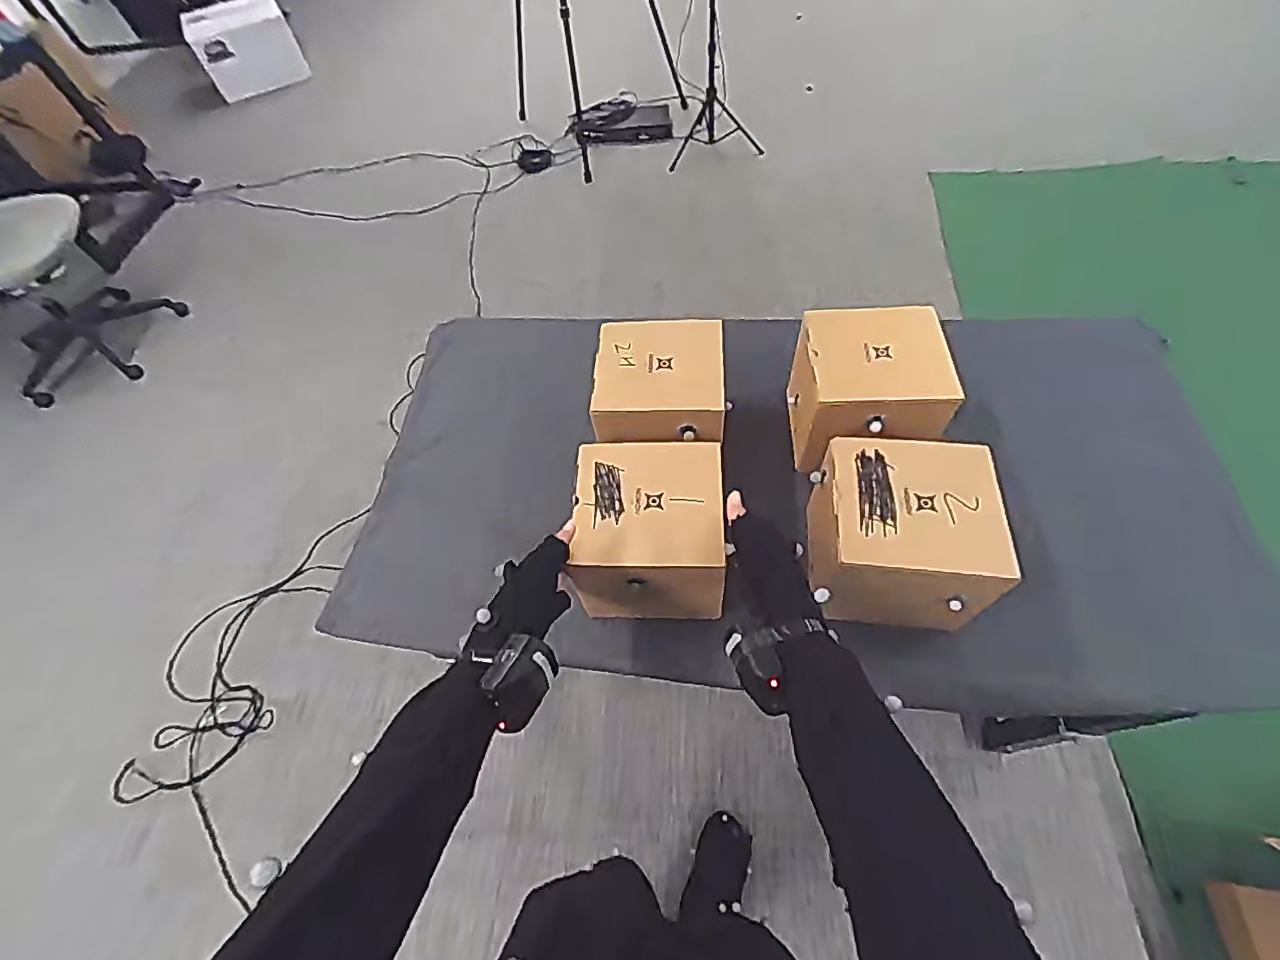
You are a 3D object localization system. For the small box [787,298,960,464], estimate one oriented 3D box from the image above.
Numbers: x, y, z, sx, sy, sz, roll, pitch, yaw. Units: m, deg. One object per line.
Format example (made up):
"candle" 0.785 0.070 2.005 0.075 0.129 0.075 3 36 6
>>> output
"small box" 0.314 -0.133 0.768 0.179 0.176 0.168 -2 59 7
